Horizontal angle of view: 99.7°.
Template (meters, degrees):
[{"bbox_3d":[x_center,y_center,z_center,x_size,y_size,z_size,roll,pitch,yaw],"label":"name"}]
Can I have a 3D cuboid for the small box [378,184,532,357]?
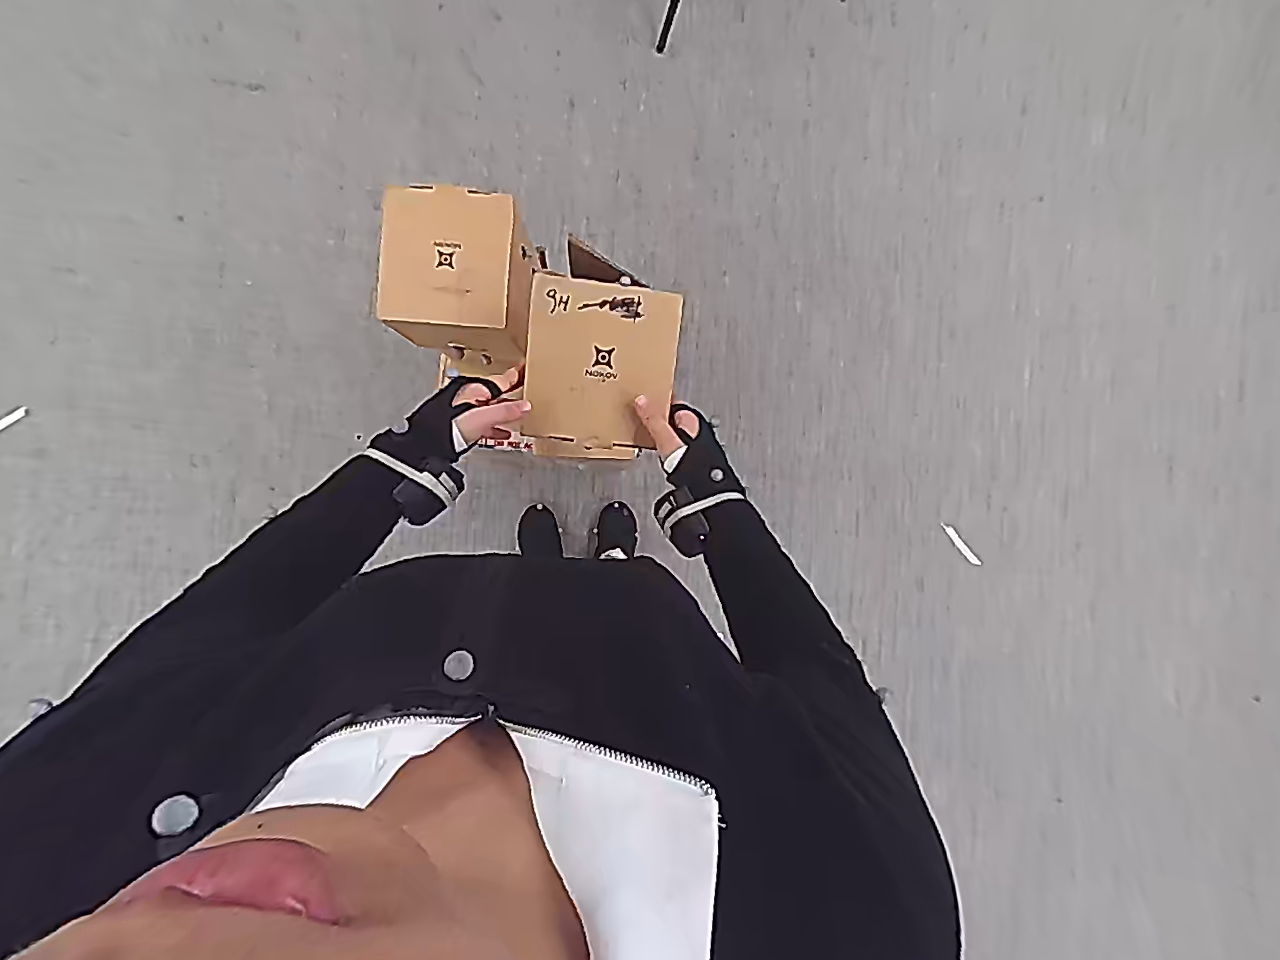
[{"bbox_3d":[-0.250,-0.285,0.769,0.168,0.176,0.179,3,91,-2],"label":"small box"}]

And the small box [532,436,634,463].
[{"bbox_3d":[-0.094,-0.122,0.943,0.168,0.176,0.179,2,91,-4],"label":"small box"}]

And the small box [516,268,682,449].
[{"bbox_3d":[-0.054,-0.143,0.663,0.168,0.176,0.179,6,100,-9],"label":"small box"}]
